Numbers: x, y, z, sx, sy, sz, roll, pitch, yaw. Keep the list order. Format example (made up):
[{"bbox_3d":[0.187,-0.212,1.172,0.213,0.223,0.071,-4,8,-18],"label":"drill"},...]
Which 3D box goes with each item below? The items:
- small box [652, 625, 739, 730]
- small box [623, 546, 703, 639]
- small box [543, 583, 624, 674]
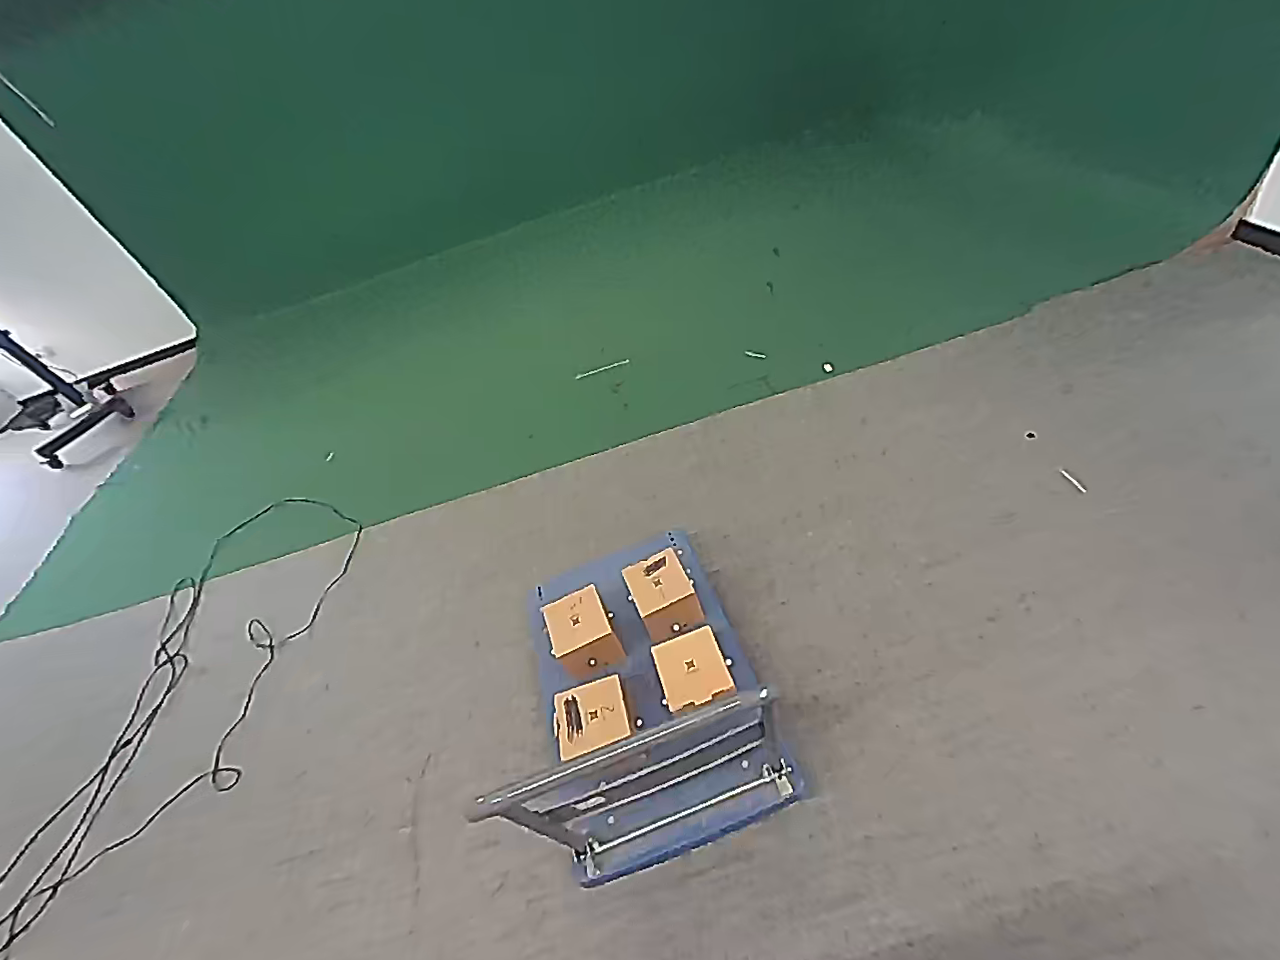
[{"bbox_3d":[0.144,0.512,1.397,0.168,0.176,0.179,-21,46,-1],"label":"small box"},{"bbox_3d":[0.068,0.333,1.585,0.168,0.176,0.179,-25,47,-3],"label":"small box"},{"bbox_3d":[-0.160,0.438,1.566,0.168,0.176,0.179,-24,45,-4],"label":"small box"}]
